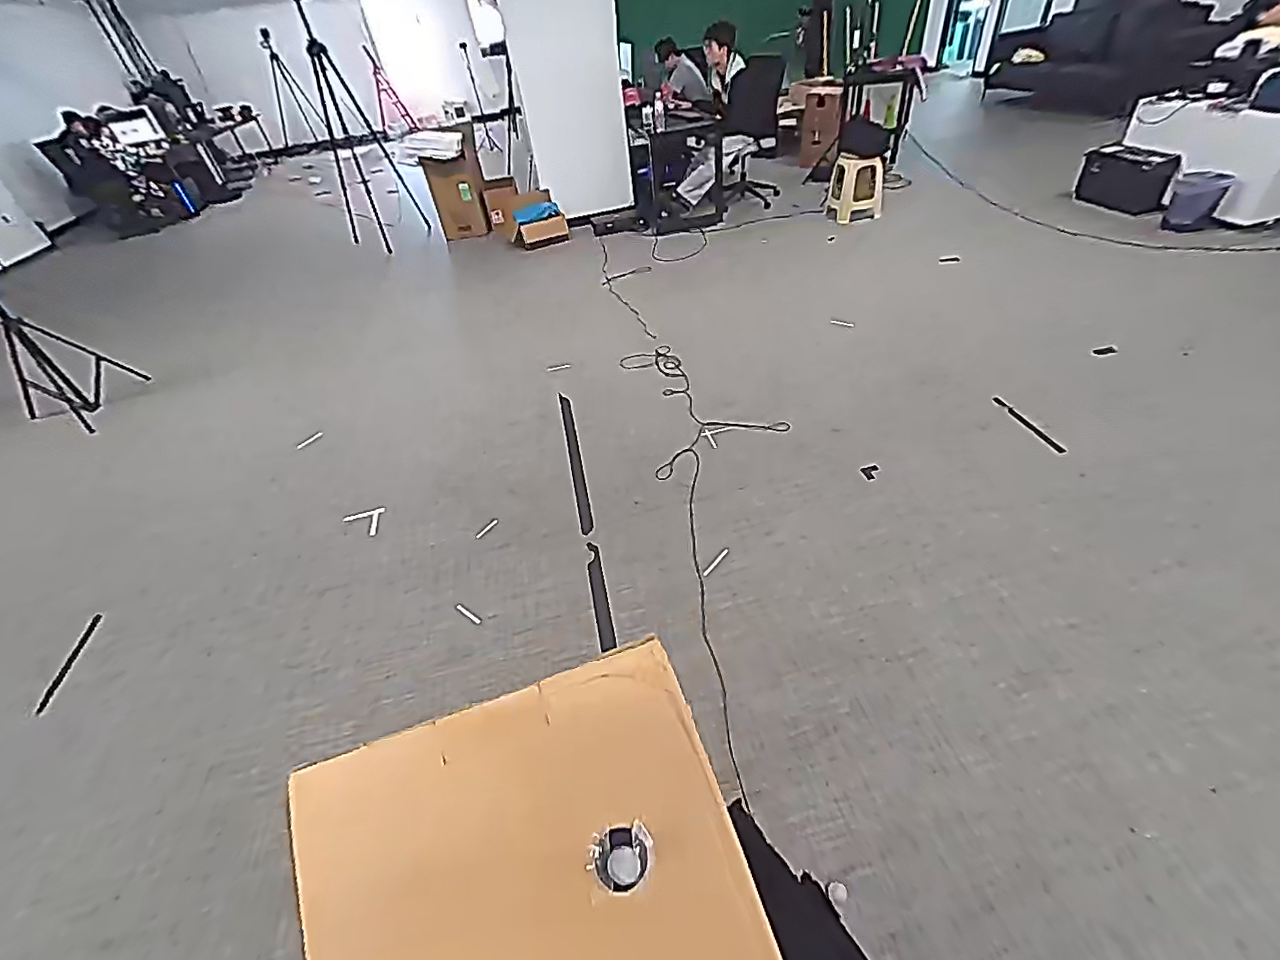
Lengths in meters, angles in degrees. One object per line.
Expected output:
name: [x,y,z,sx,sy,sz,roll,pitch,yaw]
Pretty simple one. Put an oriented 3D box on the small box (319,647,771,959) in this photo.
small box: [-0.043,0.211,0.301,0.168,0.179,0.176,-17,69,-12]
